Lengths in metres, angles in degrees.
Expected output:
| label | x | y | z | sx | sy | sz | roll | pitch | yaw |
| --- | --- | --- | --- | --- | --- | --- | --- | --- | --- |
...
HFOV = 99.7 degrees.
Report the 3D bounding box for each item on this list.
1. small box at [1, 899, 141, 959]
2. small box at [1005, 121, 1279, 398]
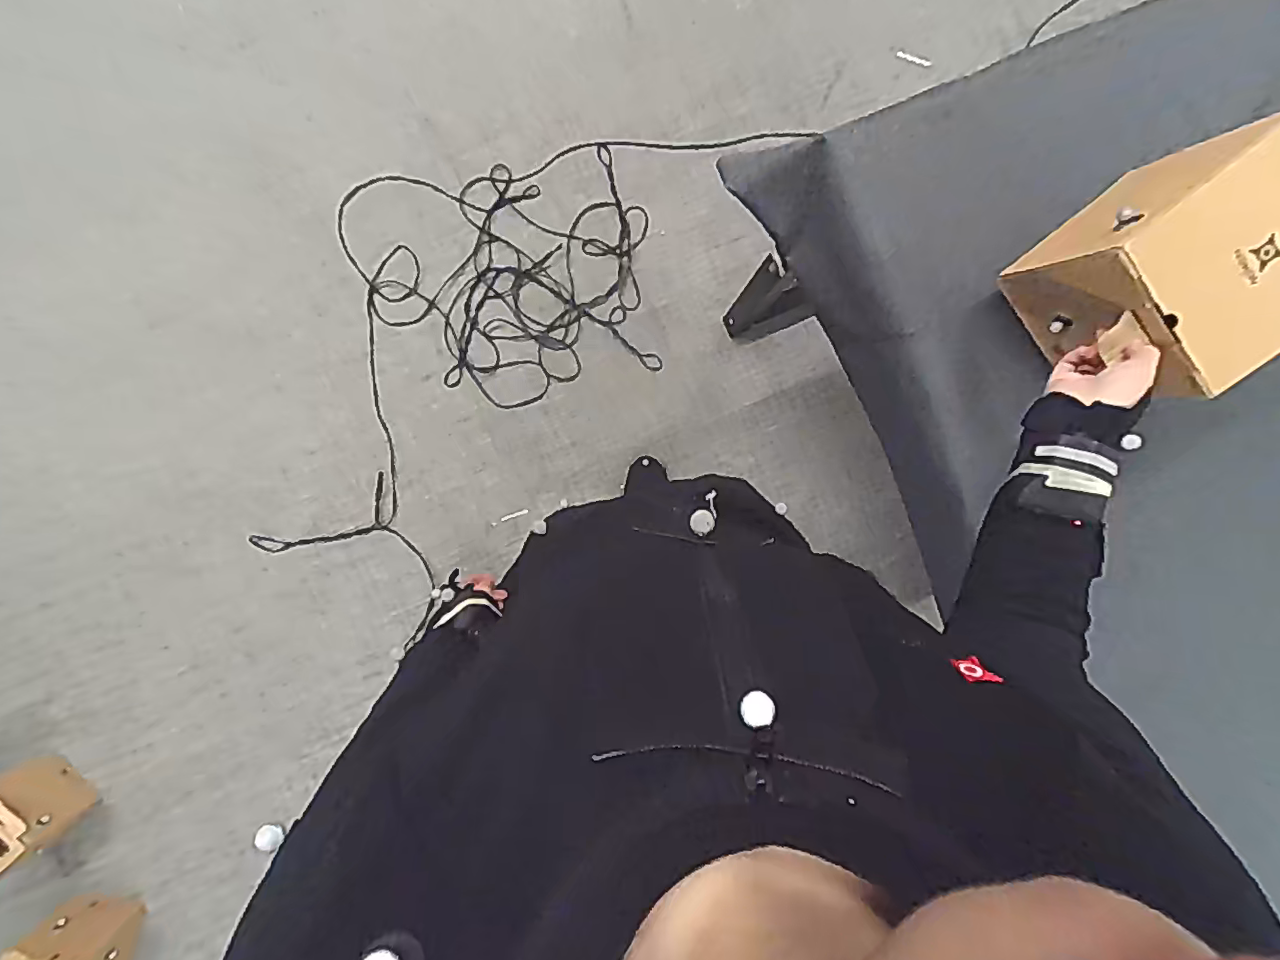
| label | x | y | z | sx | sy | sz | roll | pitch | yaw |
| --- | --- | --- | --- | --- | --- | --- | --- | --- | --- |
| small box | -1.304 | 1.112 | 1.235 | 0.168 | 0.176 | 0.179 | 13 | 92 | -2 |
| small box | 0.517 | -0.203 | 0.527 | 0.179 | 0.176 | 0.168 | -39 | 99 | 9 |
